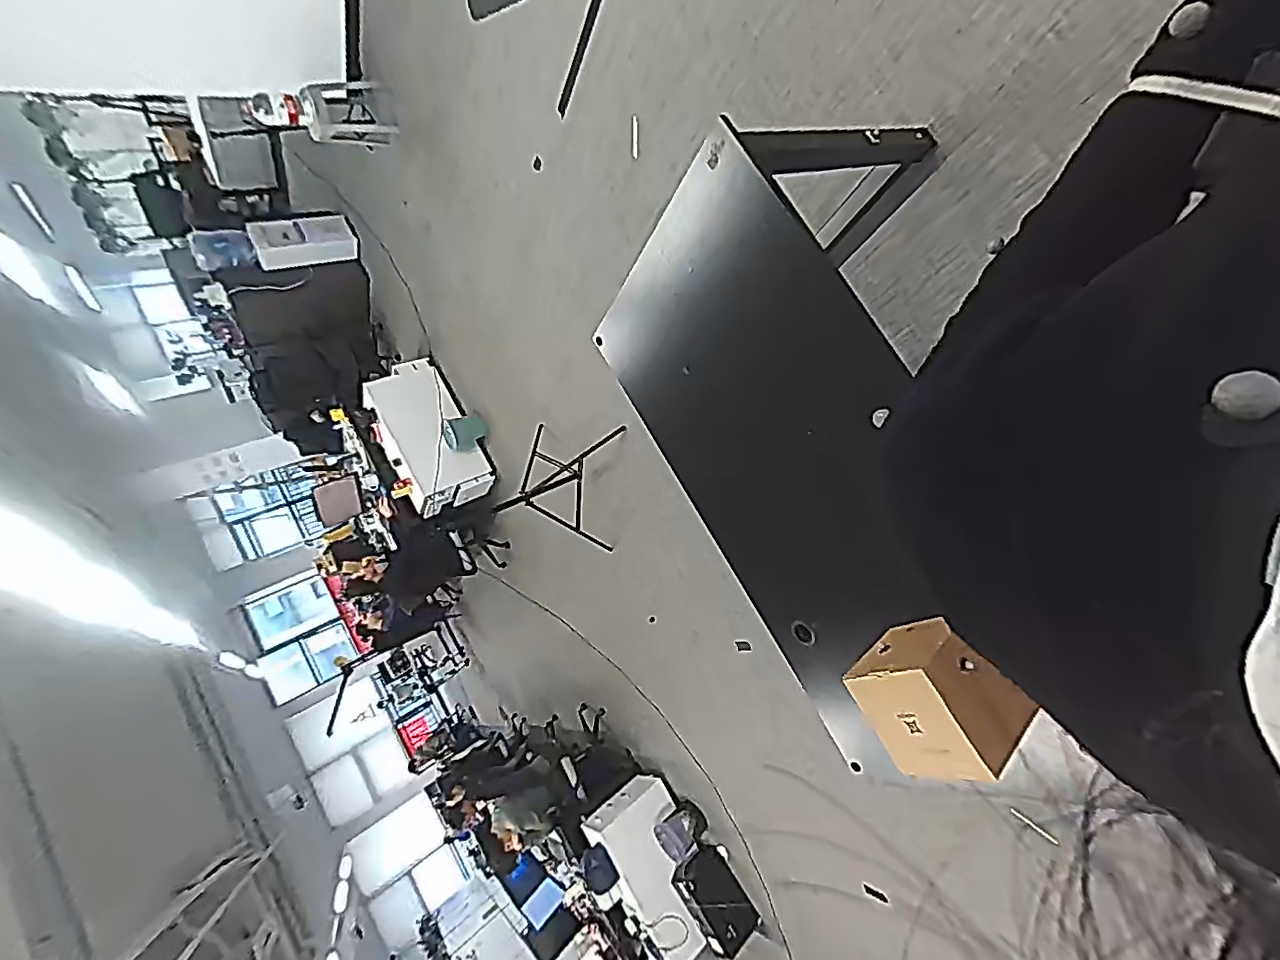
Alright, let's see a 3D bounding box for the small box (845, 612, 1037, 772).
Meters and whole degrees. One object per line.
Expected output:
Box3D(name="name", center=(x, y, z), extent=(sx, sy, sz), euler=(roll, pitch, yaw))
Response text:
Box3D(name="small box", center=(0.475, 0.328, 0.861), extent=(0.179, 0.176, 0.168), euler=(58, 148, 9))
